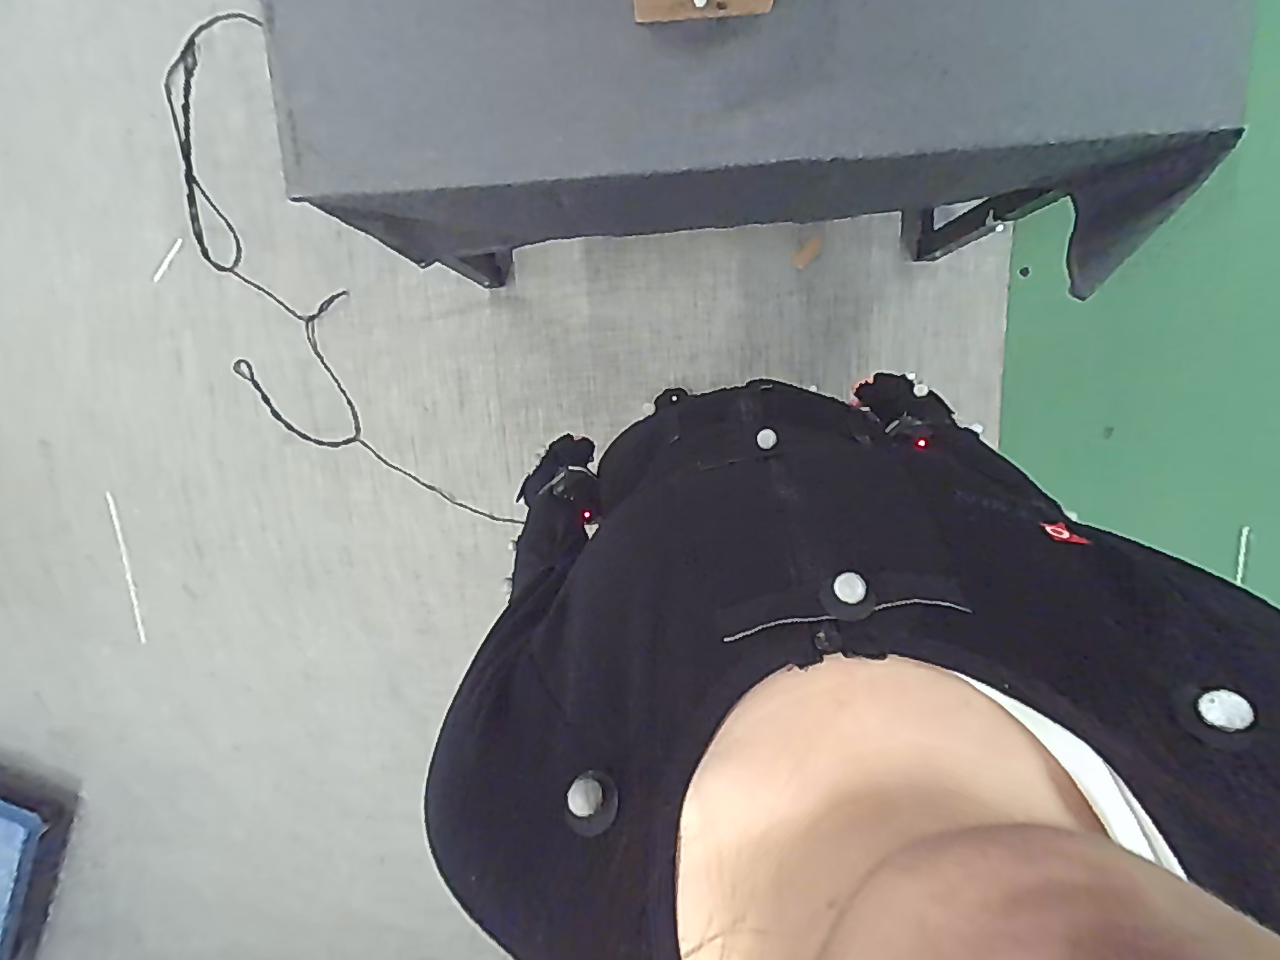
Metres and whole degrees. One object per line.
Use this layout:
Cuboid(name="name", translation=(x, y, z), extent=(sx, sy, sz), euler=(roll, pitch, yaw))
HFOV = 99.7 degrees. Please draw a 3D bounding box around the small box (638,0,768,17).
Cuboid(name="small box", translation=(0.070, -0.641, 0.566), extent=(0.168, 0.176, 0.179), euler=(-1, 99, 3))
